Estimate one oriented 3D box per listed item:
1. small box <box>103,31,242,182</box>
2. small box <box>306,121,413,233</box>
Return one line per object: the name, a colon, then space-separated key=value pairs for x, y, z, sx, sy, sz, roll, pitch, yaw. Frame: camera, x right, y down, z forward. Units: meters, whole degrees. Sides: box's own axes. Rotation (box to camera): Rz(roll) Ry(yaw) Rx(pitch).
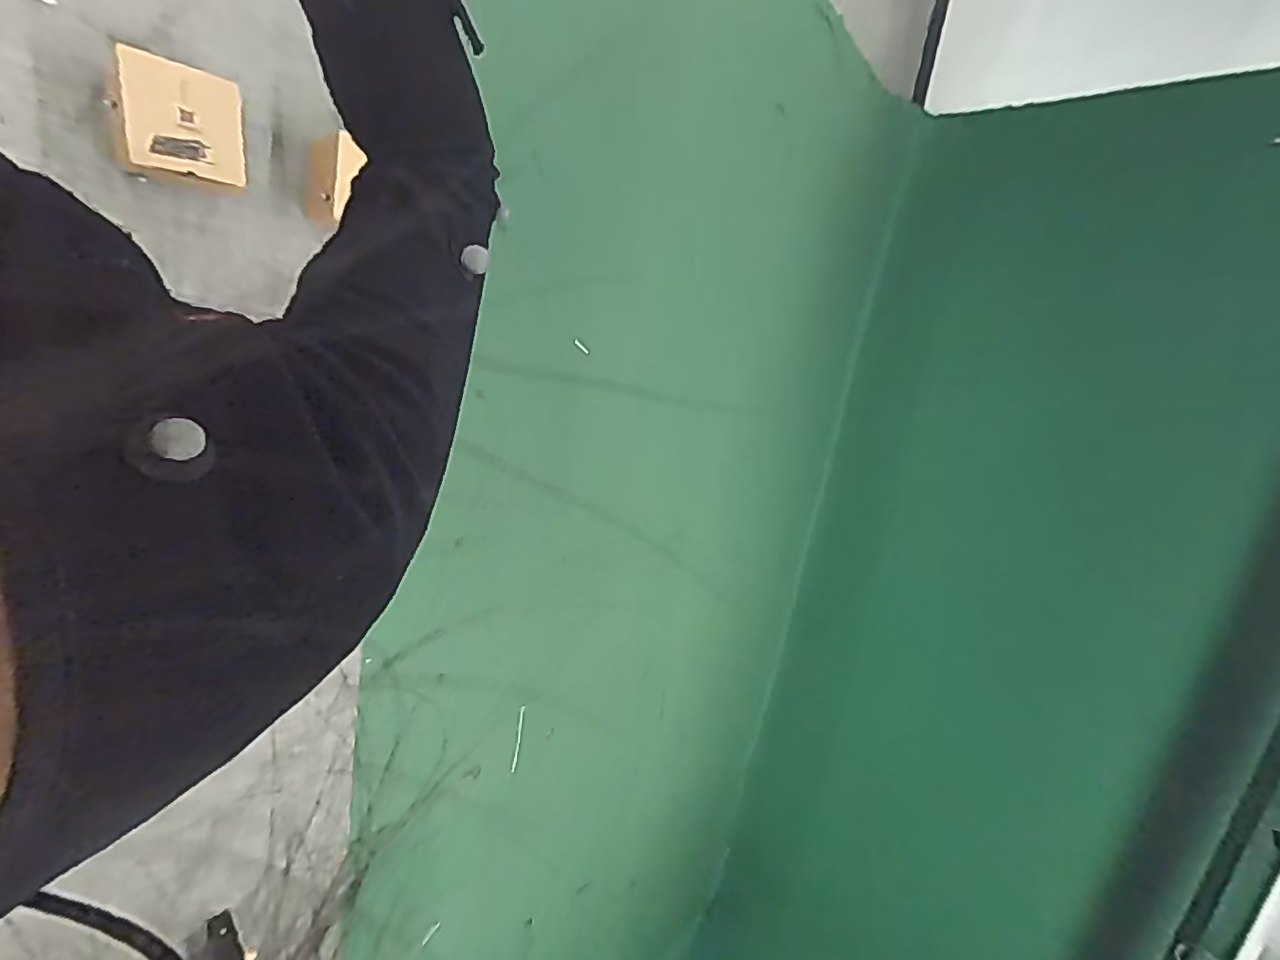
small box: x=-0.854 y=-0.664 z=0.991 sx=0.168 sy=0.176 sz=0.179 roll=-11 pitch=113 yaw=-48
small box: x=-0.644 y=-0.682 z=1.237 sx=0.168 sy=0.176 sz=0.179 roll=-3 pitch=109 yaw=-49
